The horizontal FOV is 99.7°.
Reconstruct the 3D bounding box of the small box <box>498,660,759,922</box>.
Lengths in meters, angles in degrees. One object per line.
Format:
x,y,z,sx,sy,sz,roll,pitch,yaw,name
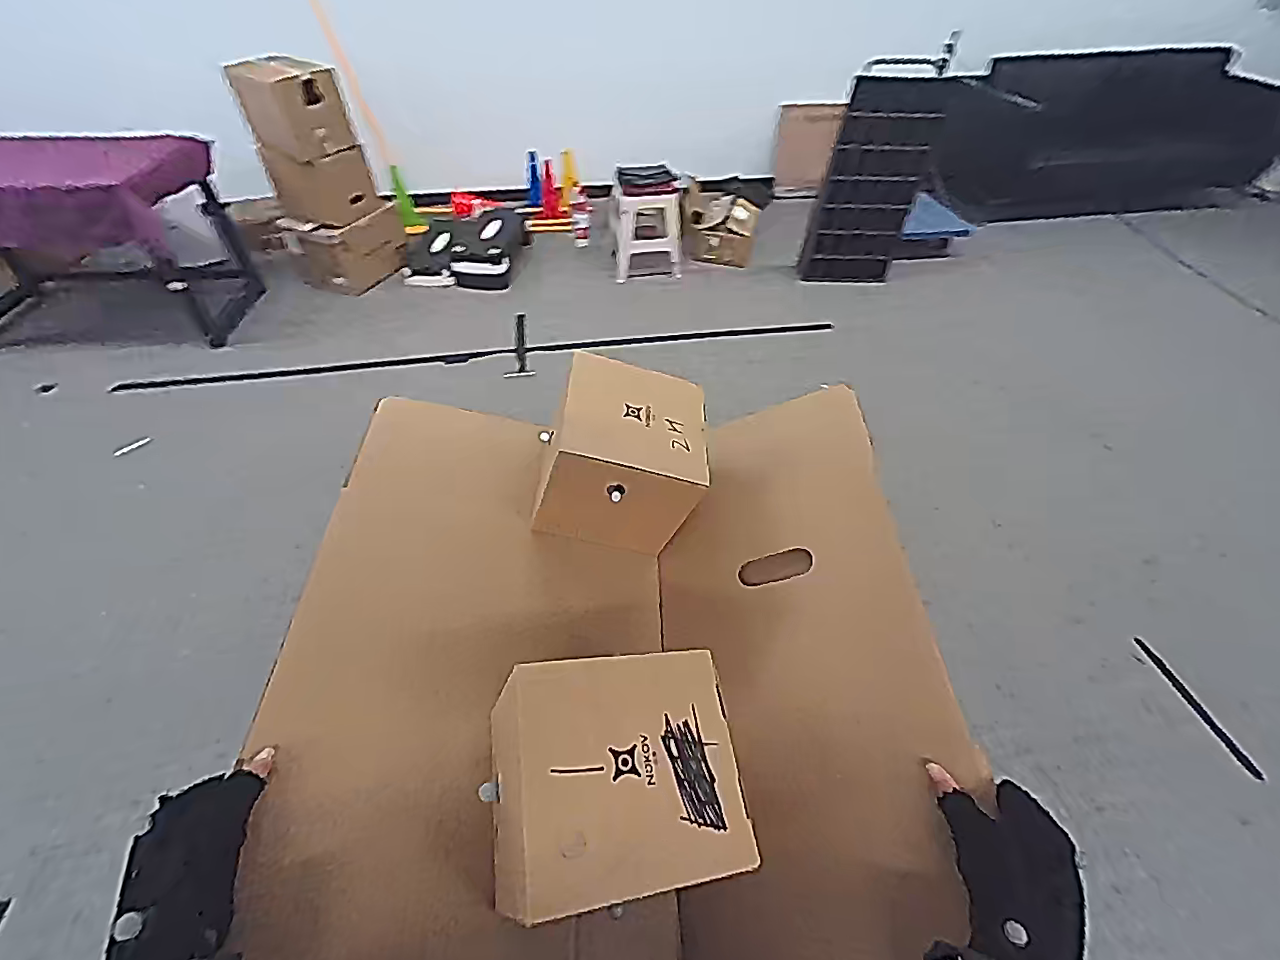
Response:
-0.026,0.270,0.484,0.179,0.176,0.168,4,54,-20,small box

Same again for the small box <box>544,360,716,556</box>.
-0.017,-0.020,0.702,0.179,0.176,0.168,15,52,-13,small box
